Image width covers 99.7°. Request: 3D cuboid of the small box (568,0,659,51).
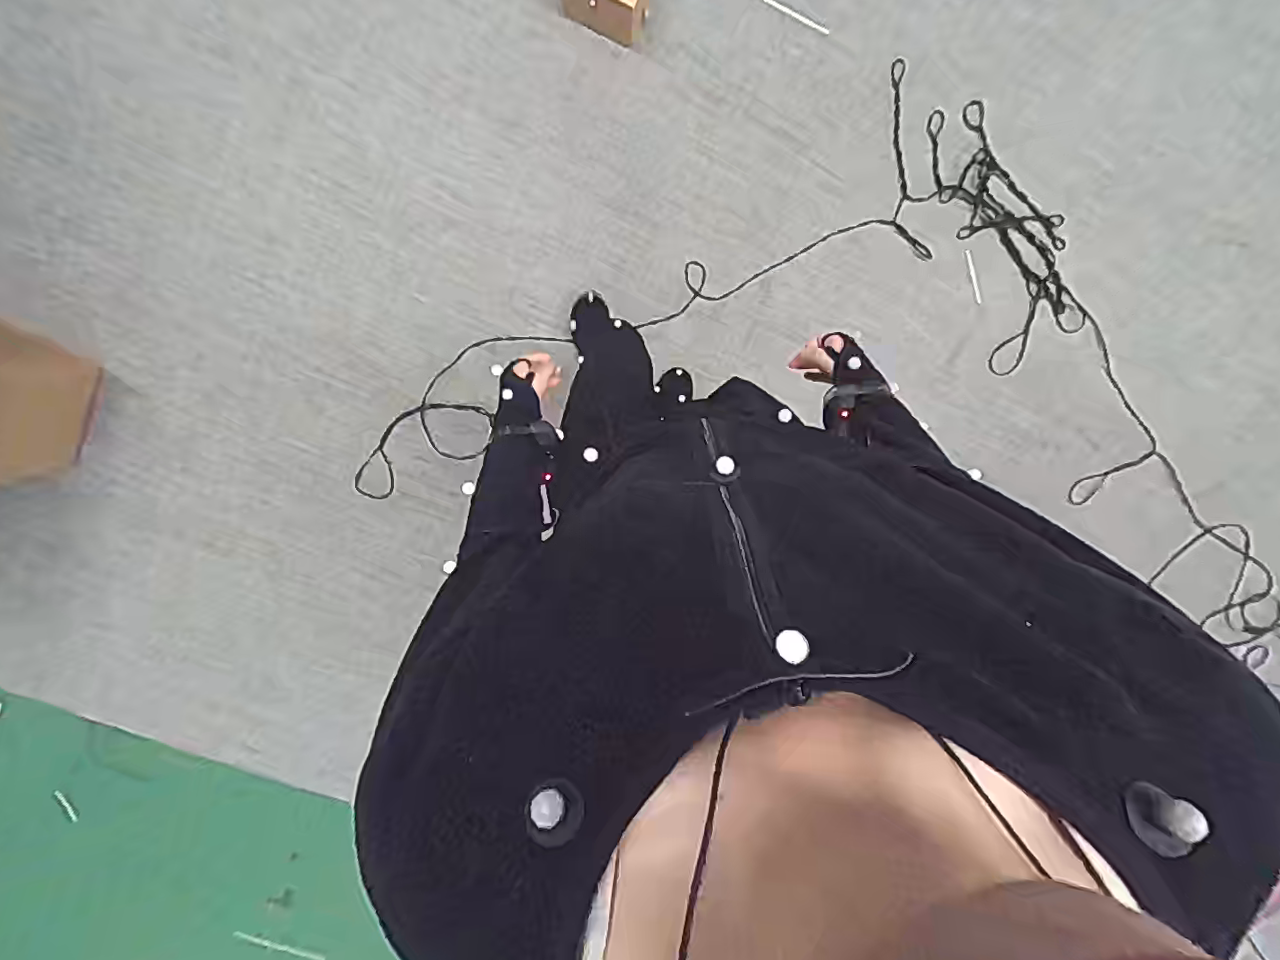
[{"bbox_3d":[-0.053,-1.092,1.176,0.179,0.176,0.168,23,102,-7],"label":"small box"}]
